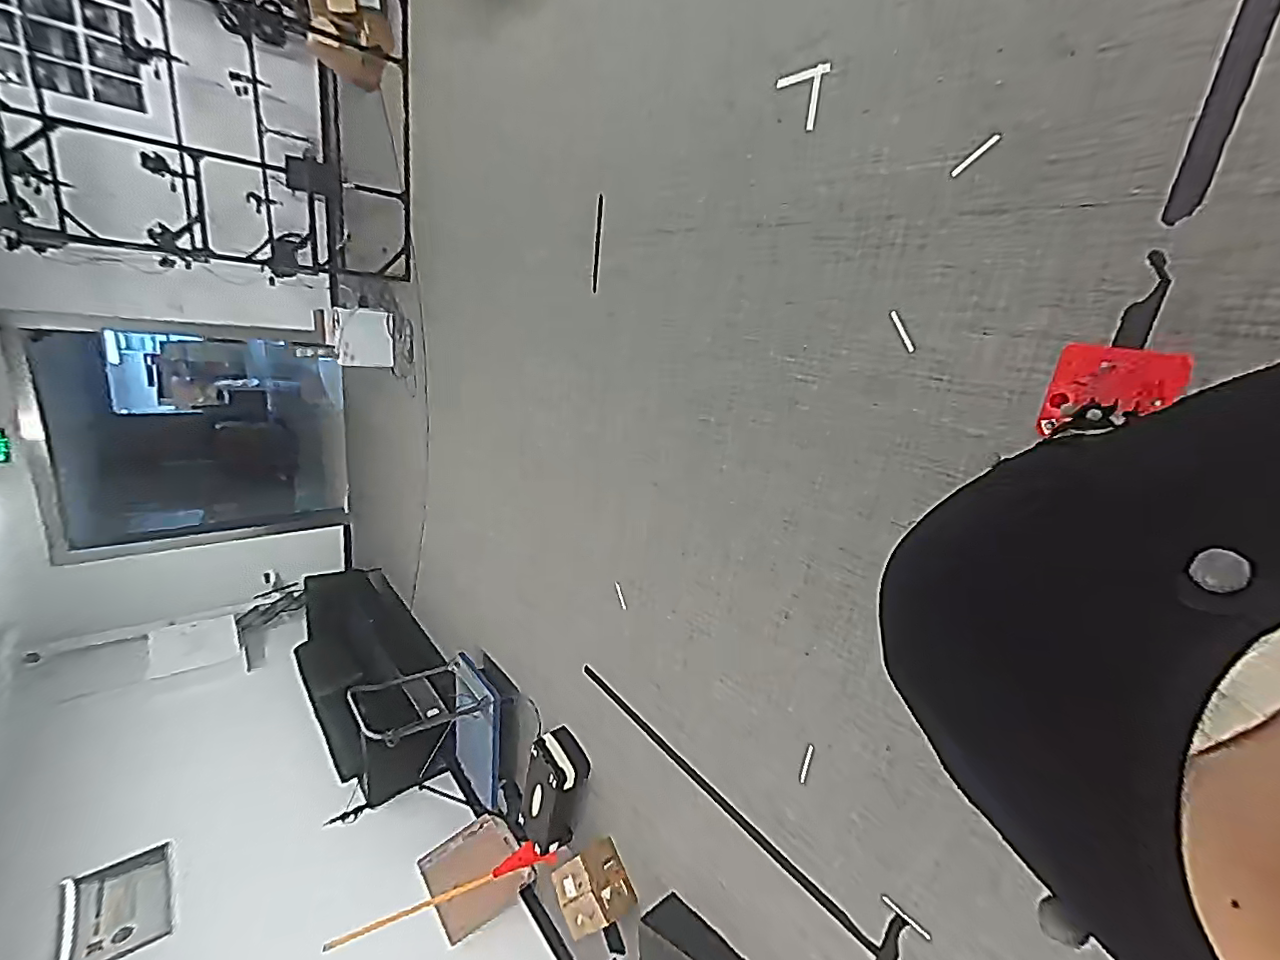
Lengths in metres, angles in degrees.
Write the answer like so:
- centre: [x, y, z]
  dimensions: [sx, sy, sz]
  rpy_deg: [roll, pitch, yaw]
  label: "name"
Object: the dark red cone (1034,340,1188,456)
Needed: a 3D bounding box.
- centre: [0.784, -0.147, 0.948]
  dimensions: [0.201, 0.394, 0.202]
  rpy_deg: [24, 114, 45]
  label: "dark red cone"
